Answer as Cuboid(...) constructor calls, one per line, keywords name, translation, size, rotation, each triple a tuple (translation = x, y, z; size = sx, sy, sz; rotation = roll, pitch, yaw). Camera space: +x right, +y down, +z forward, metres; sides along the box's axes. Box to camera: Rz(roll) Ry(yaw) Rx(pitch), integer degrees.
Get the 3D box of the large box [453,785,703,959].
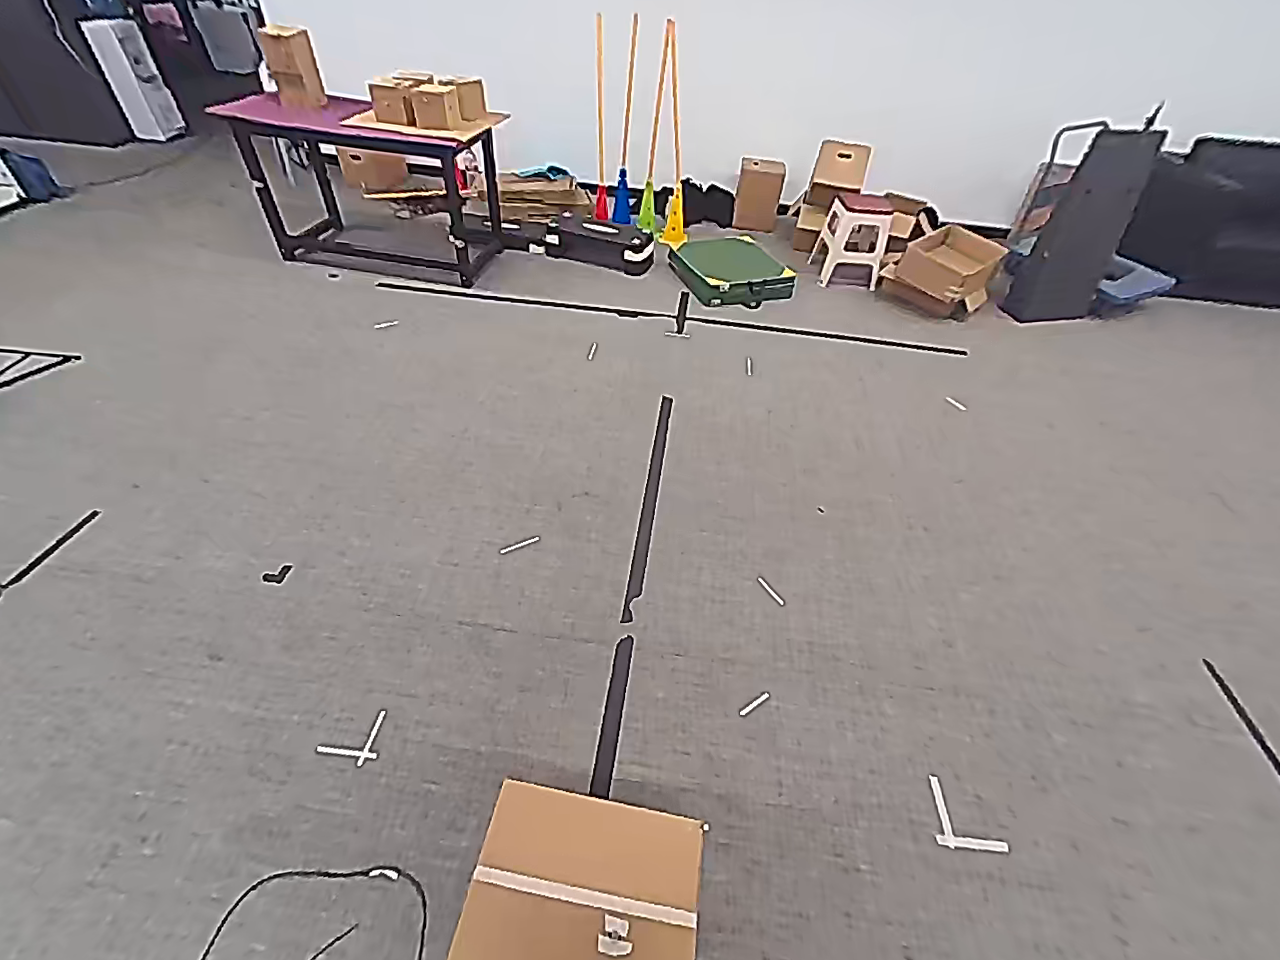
Cuboid(name="large box", translation=(-0.109, 0.851, 1.066), size=(0.408, 0.320, 0.320), rotation=(10, 45, 4))
